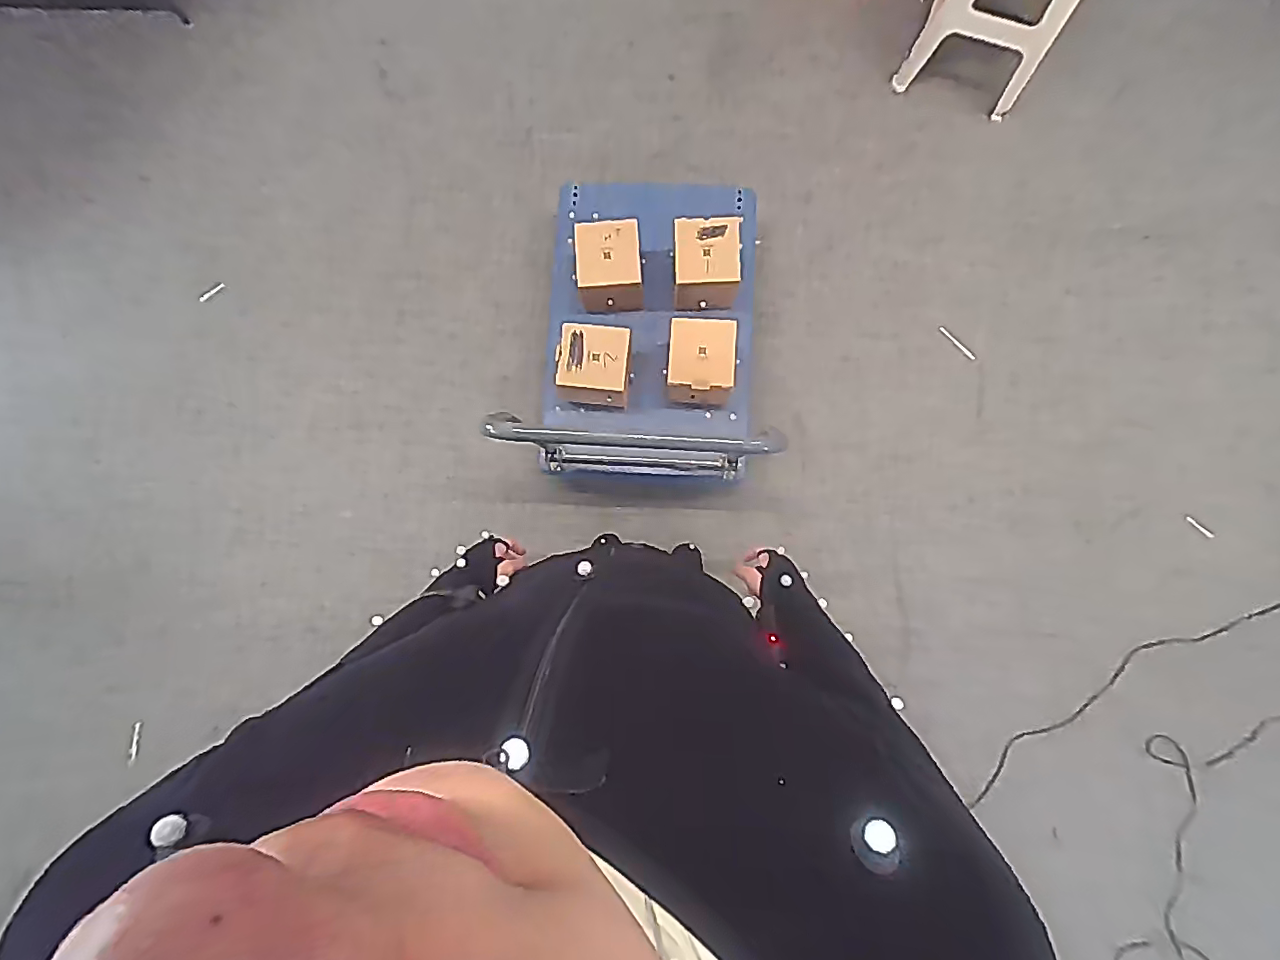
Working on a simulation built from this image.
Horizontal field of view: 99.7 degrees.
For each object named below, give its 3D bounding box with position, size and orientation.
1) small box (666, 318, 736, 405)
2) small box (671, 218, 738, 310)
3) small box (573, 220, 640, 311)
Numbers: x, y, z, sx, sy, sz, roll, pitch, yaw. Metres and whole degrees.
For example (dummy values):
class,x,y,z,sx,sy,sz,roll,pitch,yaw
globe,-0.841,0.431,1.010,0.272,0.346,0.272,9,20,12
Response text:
class,x,y,z,sx,sy,sz,roll,pitch,yaw
small box,0.156,-0.308,1.429,0.168,0.176,0.179,3,84,2
small box,0.169,-0.576,1.455,0.168,0.176,0.179,-1,85,2
small box,-0.086,-0.570,1.462,0.168,0.176,0.179,-4,84,1
